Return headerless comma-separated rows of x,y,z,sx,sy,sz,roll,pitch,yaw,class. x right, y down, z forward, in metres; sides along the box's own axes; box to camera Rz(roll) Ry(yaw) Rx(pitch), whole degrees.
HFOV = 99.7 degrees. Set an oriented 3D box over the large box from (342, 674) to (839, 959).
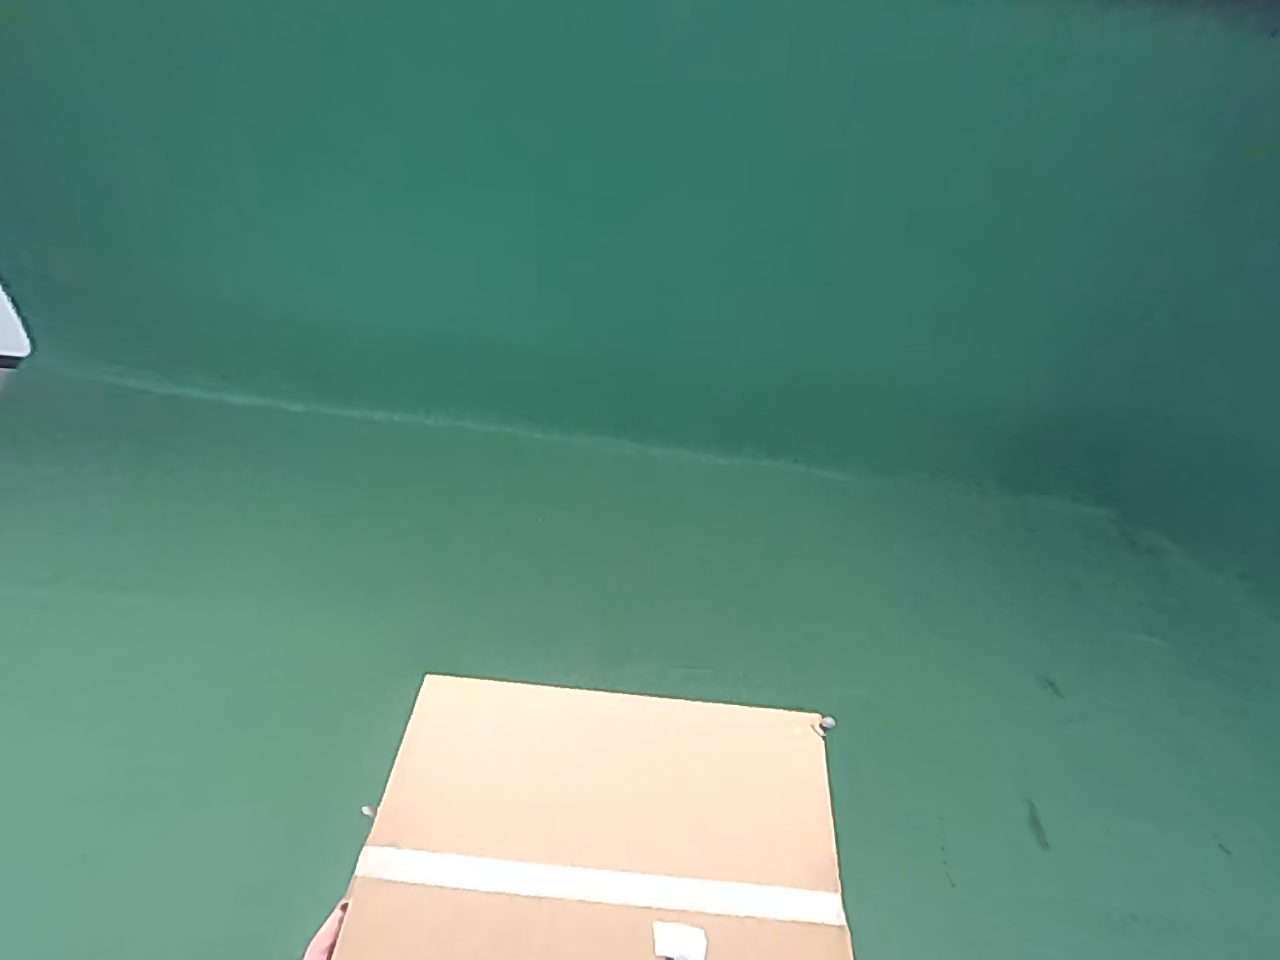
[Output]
-0.042,0.430,0.583,0.408,0.320,0.320,6,52,0,large box
